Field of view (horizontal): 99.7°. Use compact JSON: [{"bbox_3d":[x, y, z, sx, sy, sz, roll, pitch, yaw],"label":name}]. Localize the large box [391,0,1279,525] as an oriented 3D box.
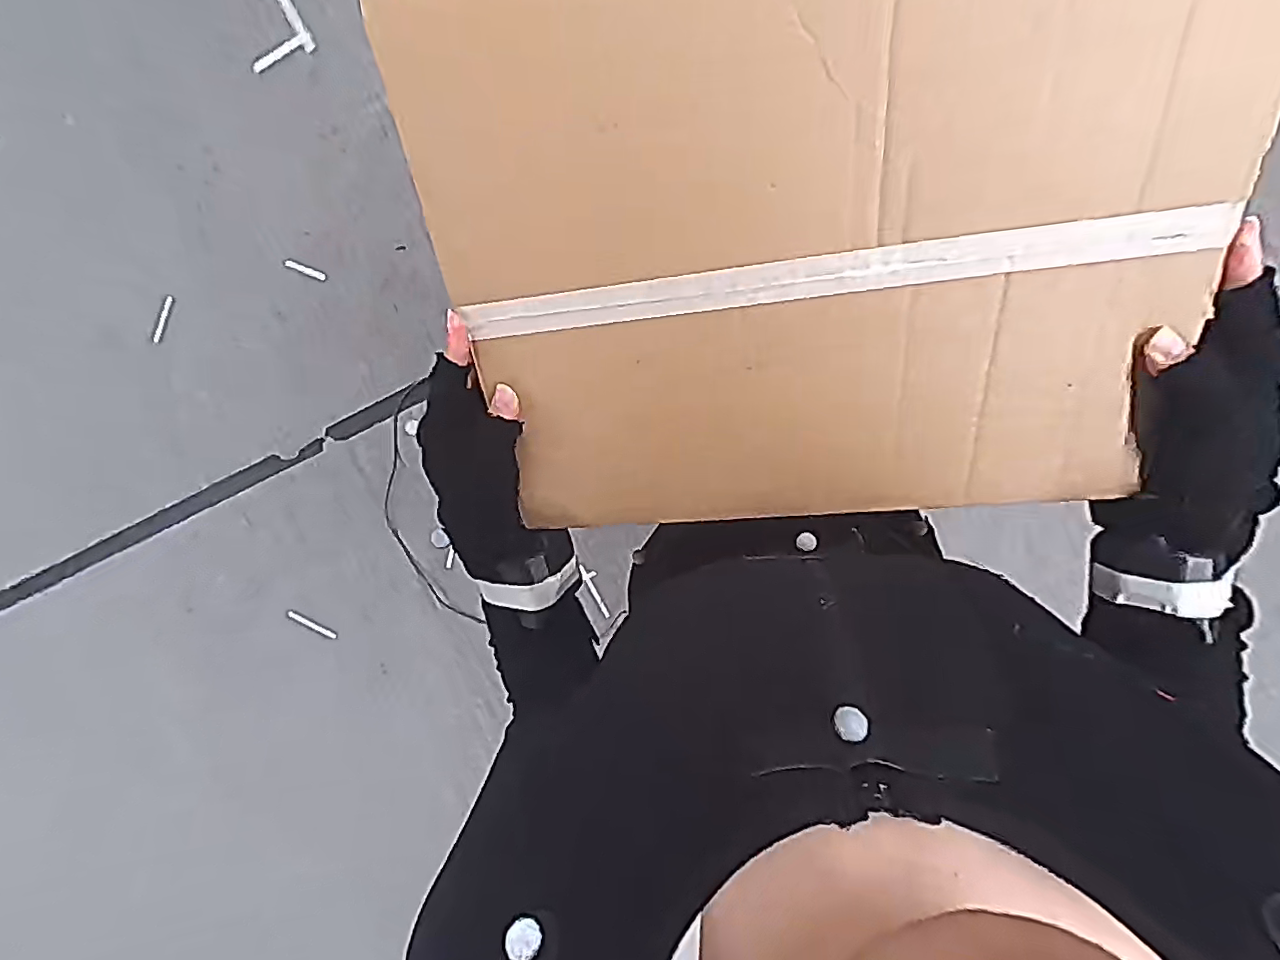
[{"bbox_3d":[0.104,-0.186,0.436,0.408,0.320,0.320,-4,120,9],"label":"large box"}]
